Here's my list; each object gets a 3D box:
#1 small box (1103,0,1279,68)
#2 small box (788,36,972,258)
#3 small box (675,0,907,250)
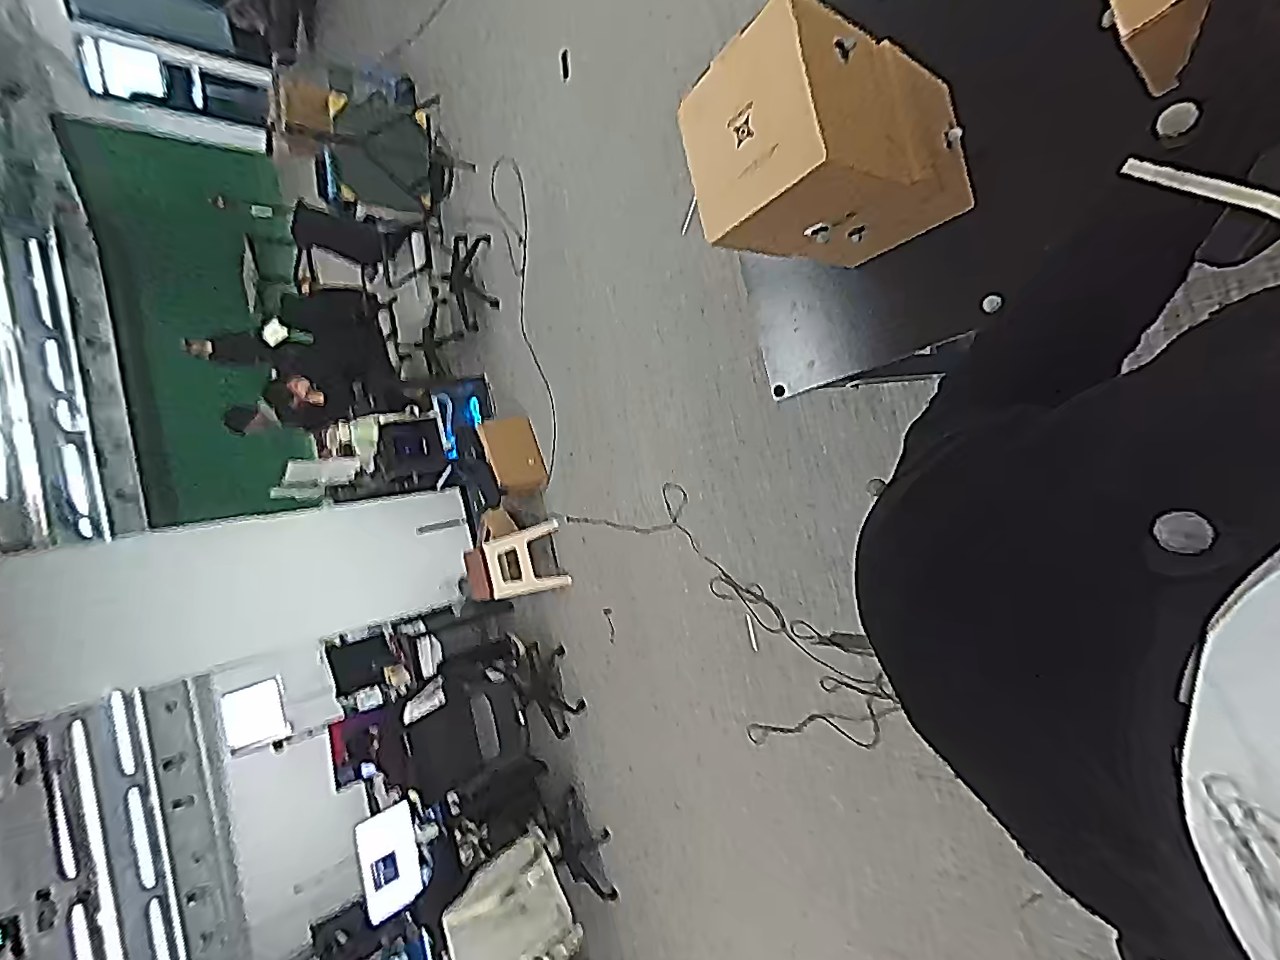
[{"bbox_3d":[0.492,-0.487,0.446,0.168,0.176,0.179,-19,84,52],"label":"small box"},{"bbox_3d":[0.297,-0.412,0.710,0.179,0.176,0.168,-14,87,51],"label":"small box"},{"bbox_3d":[0.170,-0.385,0.612,0.168,0.176,0.179,-16,87,53],"label":"small box"}]
